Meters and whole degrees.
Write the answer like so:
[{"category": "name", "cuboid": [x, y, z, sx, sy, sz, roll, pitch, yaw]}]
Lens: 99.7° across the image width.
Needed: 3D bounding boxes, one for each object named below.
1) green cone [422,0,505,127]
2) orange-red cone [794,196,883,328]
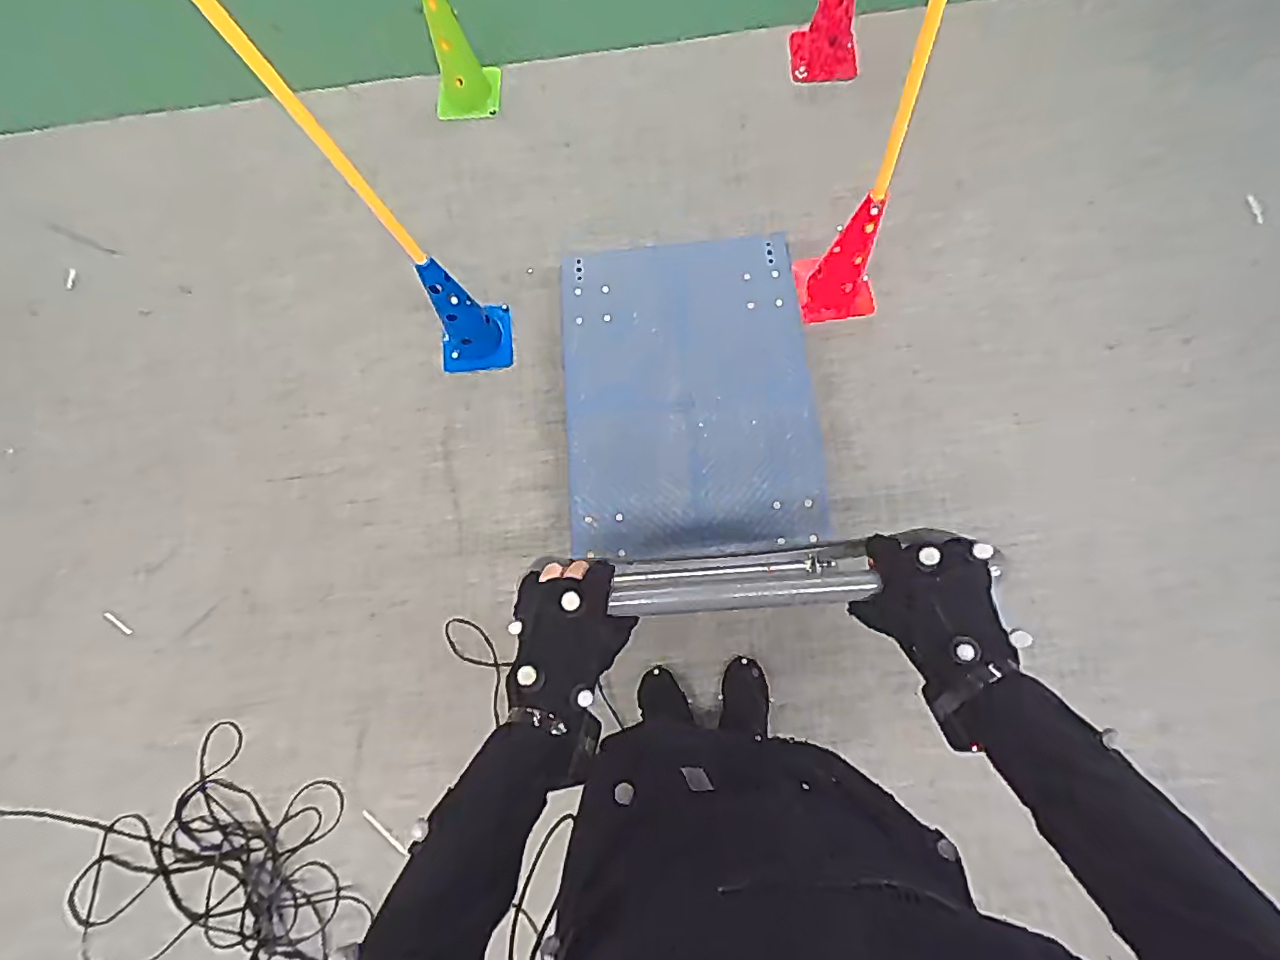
[{"category": "green cone", "cuboid": [-0.552, -1.282, 1.594, 0.202, 0.368, 0.200, -2, 75, 4]}, {"category": "orange-red cone", "cuboid": [0.530, -0.565, 1.359, 0.199, 0.360, 0.198, -7, 75, 3]}]
